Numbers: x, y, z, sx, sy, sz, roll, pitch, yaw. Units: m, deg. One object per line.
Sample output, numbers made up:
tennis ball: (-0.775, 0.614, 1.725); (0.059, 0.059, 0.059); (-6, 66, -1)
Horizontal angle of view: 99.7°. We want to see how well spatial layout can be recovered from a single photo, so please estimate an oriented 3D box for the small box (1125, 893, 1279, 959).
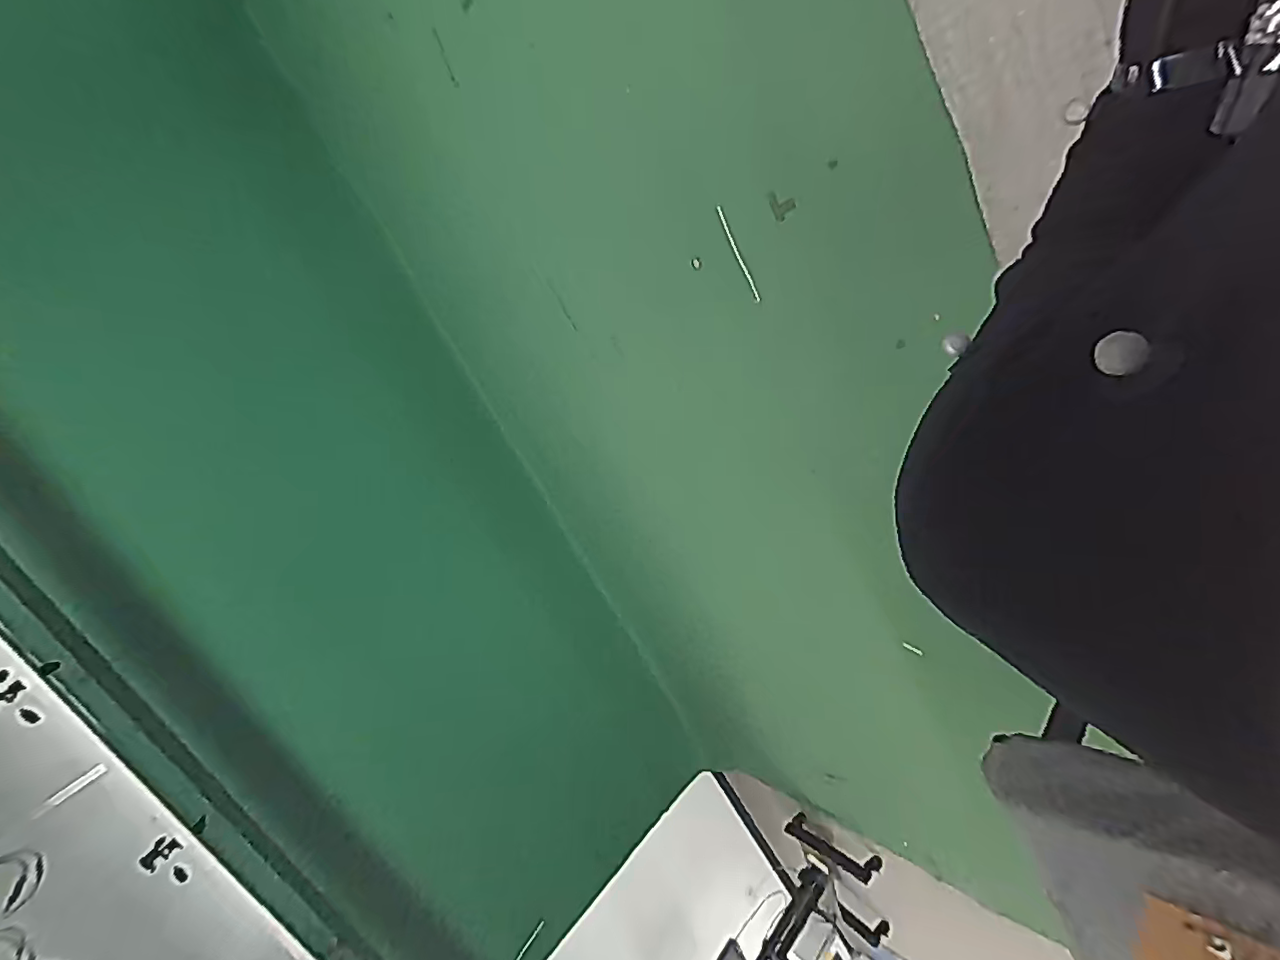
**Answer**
small box: (0.915, 0.828, 0.863); (0.168, 0.176, 0.179); (-10, 113, 56)
